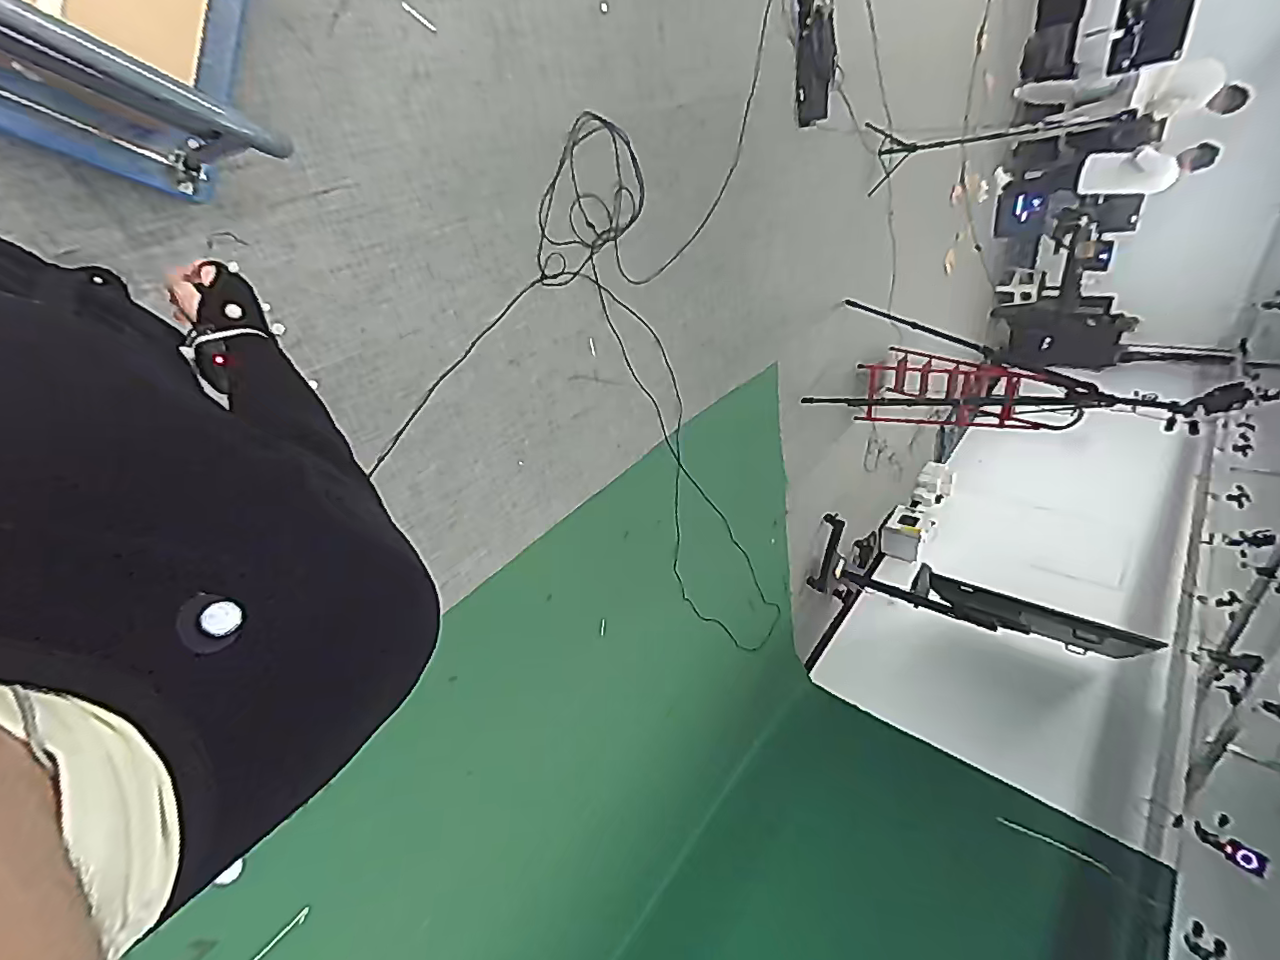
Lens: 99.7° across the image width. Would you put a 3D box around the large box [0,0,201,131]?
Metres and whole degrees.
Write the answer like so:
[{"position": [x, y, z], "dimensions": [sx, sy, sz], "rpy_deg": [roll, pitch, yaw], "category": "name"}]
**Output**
[{"position": [-0.876, -0.833, 0.808], "dimensions": [0.320, 0.320, 0.408], "rpy_deg": [8, 96, -51], "category": "large box"}]
